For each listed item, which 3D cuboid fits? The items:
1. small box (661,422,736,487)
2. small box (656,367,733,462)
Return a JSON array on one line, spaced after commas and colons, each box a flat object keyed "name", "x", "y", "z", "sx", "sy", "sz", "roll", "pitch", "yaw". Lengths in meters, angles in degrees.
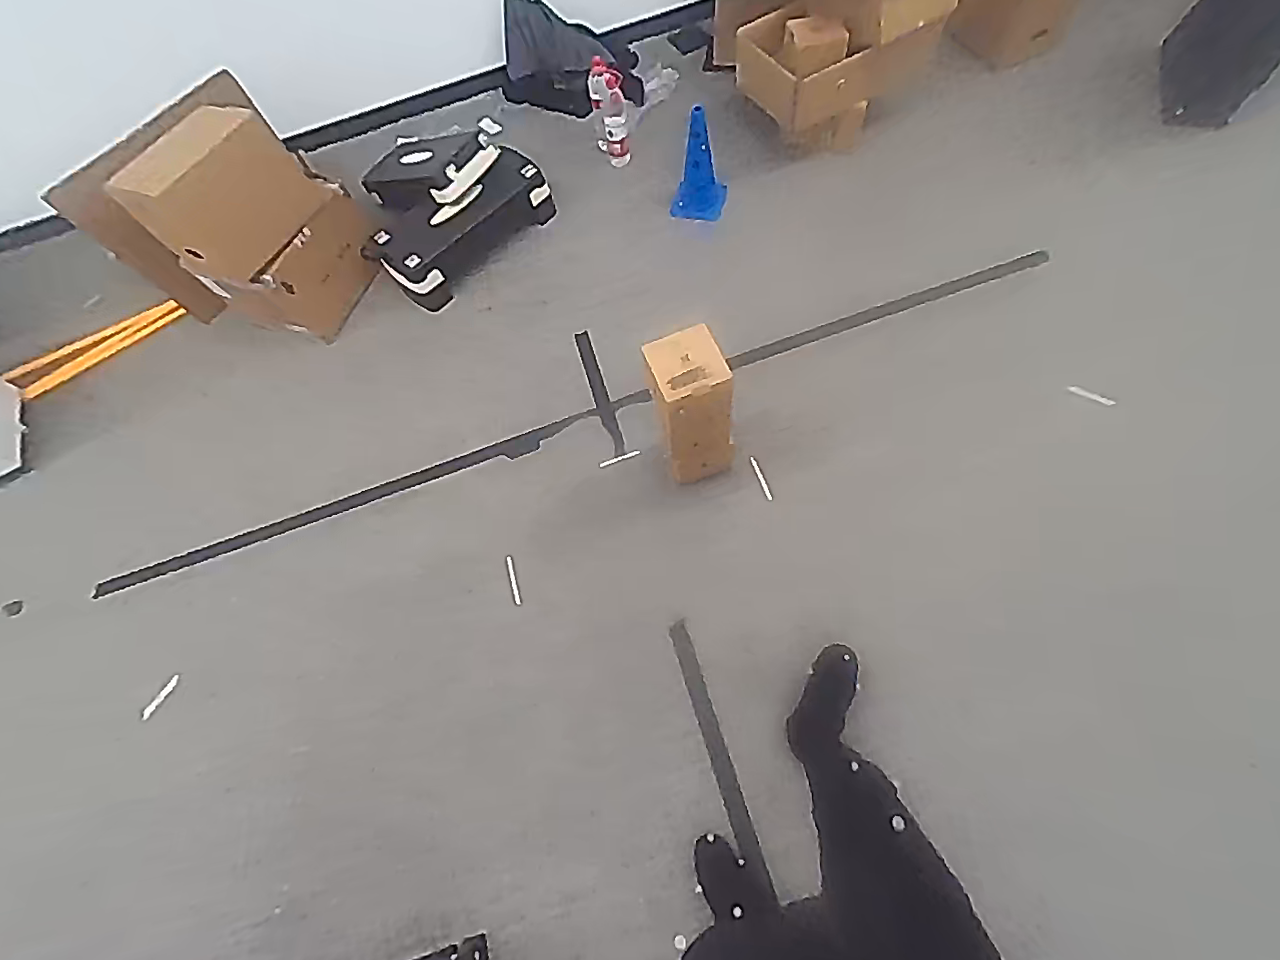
[{"name": "small box", "x": 0.173, "y": -0.101, "z": 1.617, "sx": 0.179, "sy": 0.176, "sz": 0.168, "roll": -20, "pitch": 65, "yaw": -1}, {"name": "small box", "x": 0.145, "y": -0.175, "z": 1.475, "sx": 0.168, "sy": 0.176, "sz": 0.179, "roll": -16, "pitch": 66, "yaw": 0}]
